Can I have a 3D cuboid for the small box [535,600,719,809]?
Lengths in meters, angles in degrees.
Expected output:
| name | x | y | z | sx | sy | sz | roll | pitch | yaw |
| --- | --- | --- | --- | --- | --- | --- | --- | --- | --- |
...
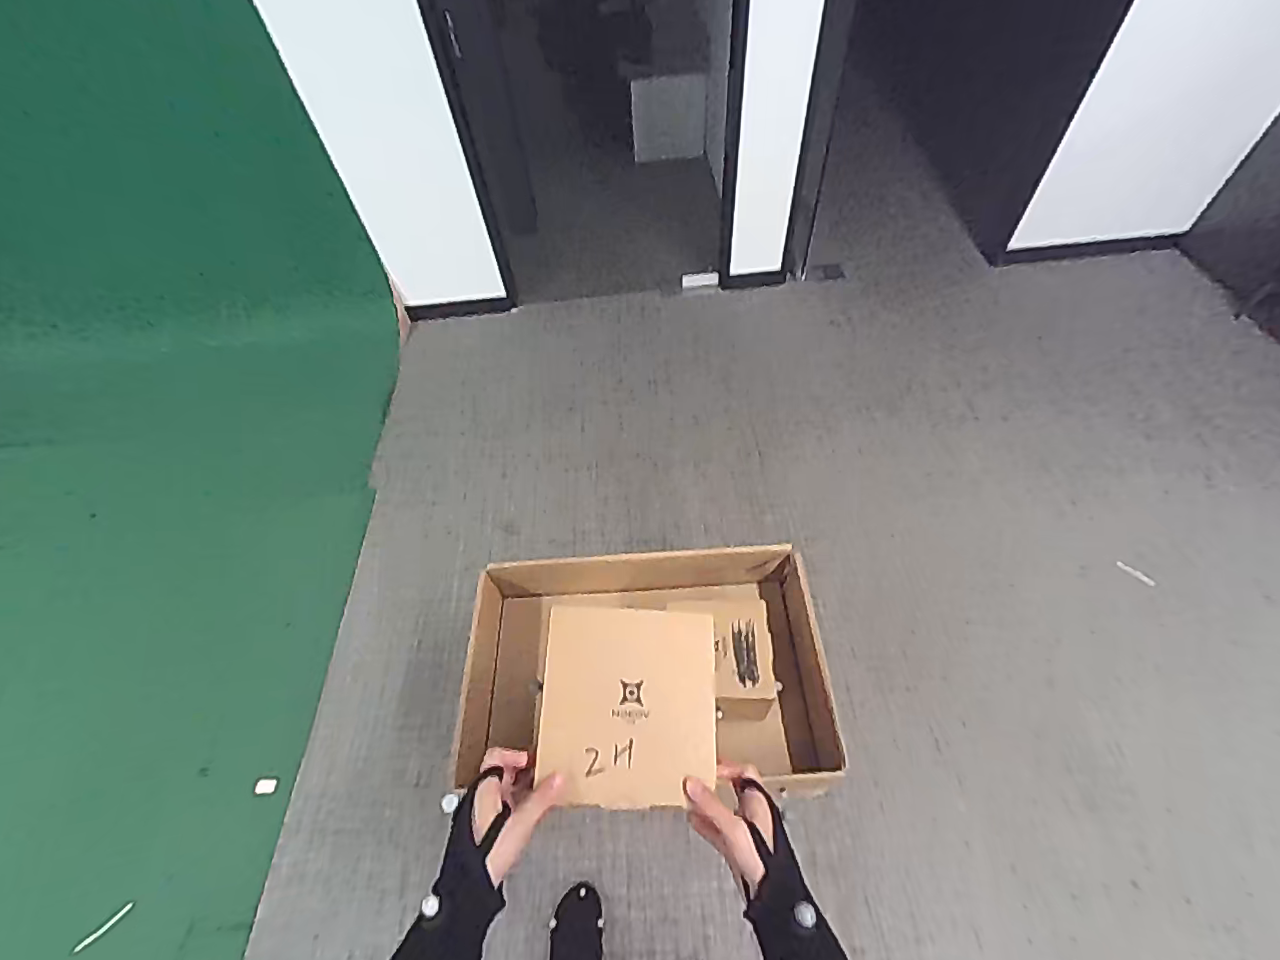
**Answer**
| name | x | y | z | sx | sy | sz | roll | pitch | yaw |
| --- | --- | --- | --- | --- | --- | --- | --- | --- | --- |
| small box | -0.015 | 0.234 | 0.577 | 0.168 | 0.176 | 0.179 | 5 | 68 | -4 |
